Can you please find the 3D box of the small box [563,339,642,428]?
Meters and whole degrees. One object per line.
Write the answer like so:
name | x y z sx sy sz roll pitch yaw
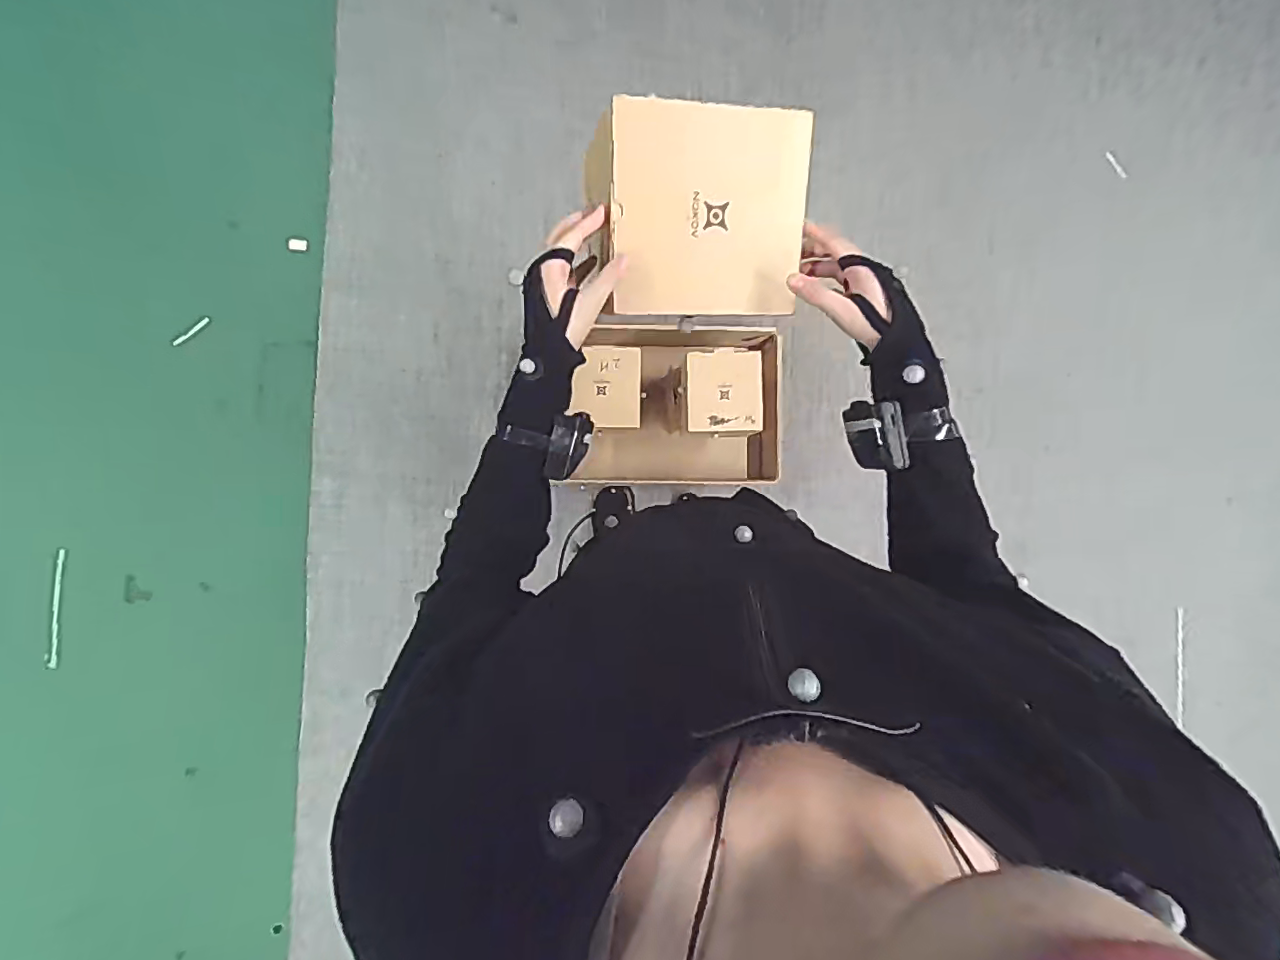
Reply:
small box | -0.082 -0.213 1.231 0.168 0.176 0.179 1 91 -4

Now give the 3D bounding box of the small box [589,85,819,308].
small box | 0.048 -0.258 0.530 0.179 0.176 0.168 -4 109 -10

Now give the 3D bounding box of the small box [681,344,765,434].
small box | 0.184 -0.204 1.242 0.168 0.176 0.179 0 89 -2

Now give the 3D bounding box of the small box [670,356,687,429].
small box | 0.170 -0.227 1.406 0.179 0.176 0.168 -5 90 -2
